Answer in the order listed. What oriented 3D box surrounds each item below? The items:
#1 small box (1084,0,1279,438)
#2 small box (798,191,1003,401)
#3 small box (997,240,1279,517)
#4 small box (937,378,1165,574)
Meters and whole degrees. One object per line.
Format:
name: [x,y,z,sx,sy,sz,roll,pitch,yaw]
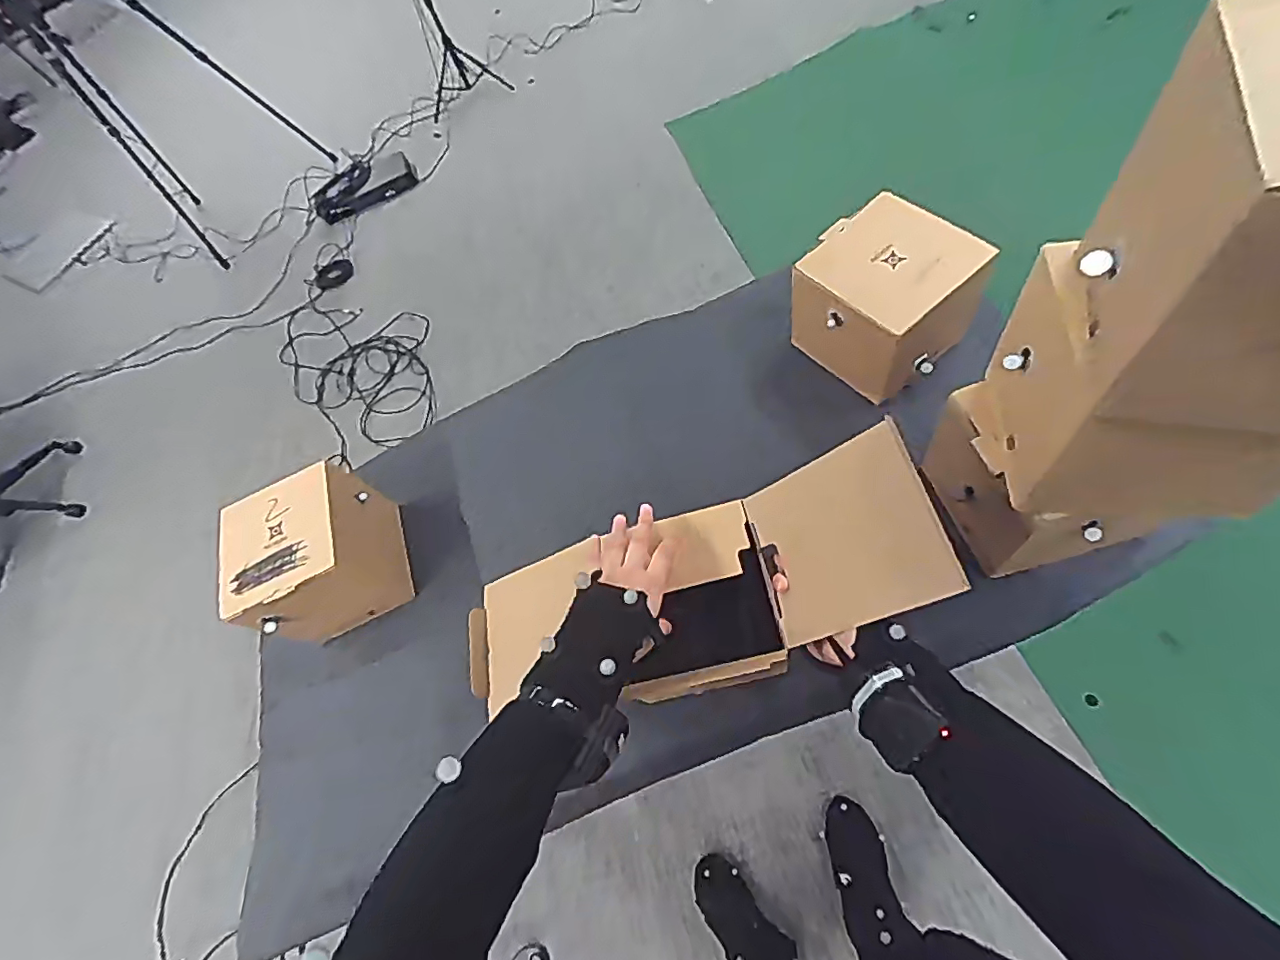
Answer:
small box: [0.383,-0.133,0.291,0.179,0.176,0.168,10,65,21]
small box: [0.333,-0.241,0.735,0.168,0.176,0.179,-39,63,-3]
small box: [0.418,-0.077,0.443,0.179,0.176,0.168,1,62,16]
small box: [0.452,-0.014,0.591,0.179,0.176,0.168,-19,59,7]
